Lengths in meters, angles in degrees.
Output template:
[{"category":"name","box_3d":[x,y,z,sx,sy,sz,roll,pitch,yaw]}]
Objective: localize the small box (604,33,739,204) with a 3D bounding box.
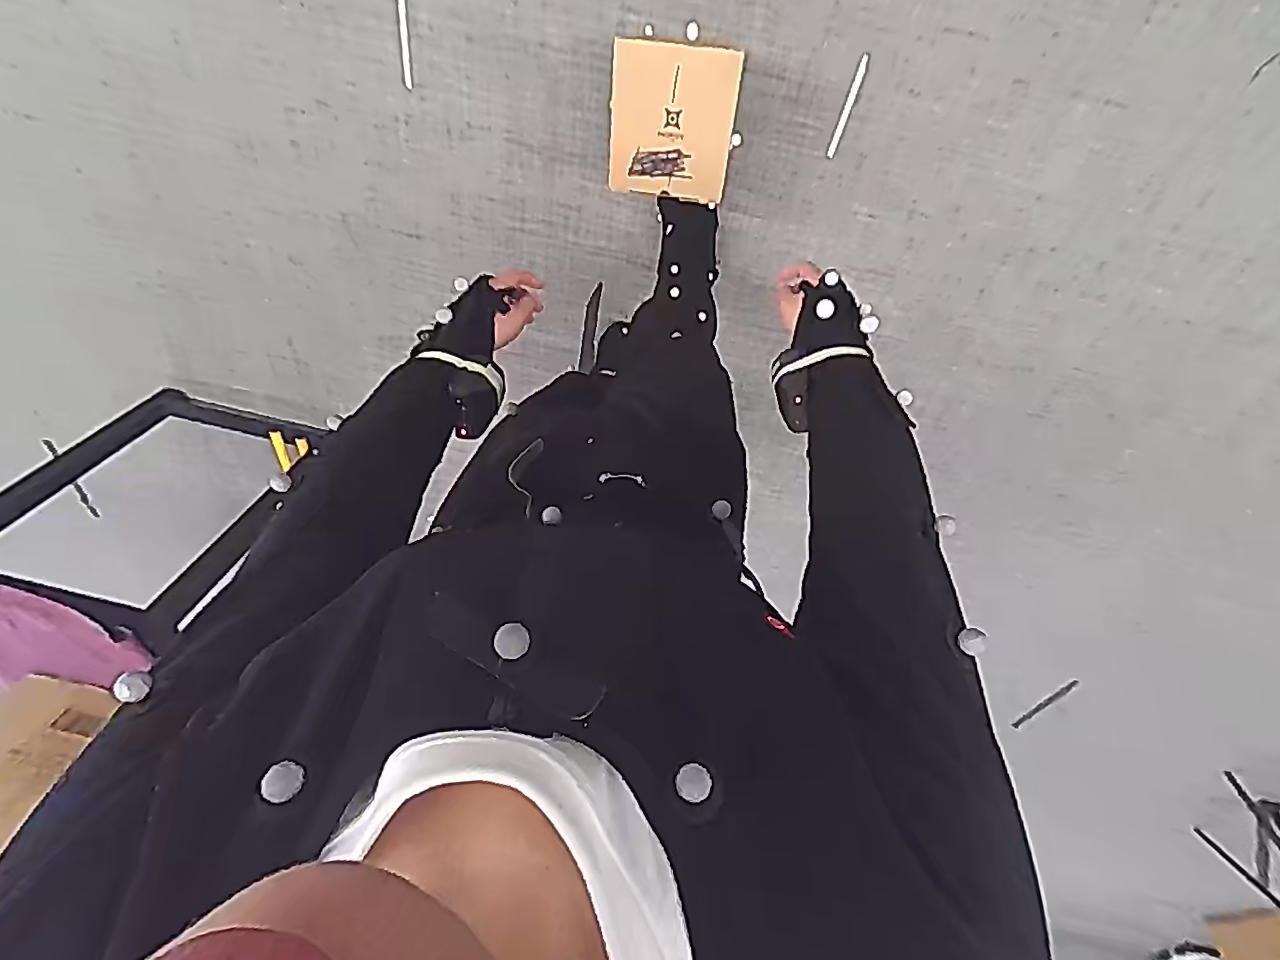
[{"category":"small box","box_3d":[0.048,-0.525,0.784,0.168,0.176,0.179,9,131,3]}]
